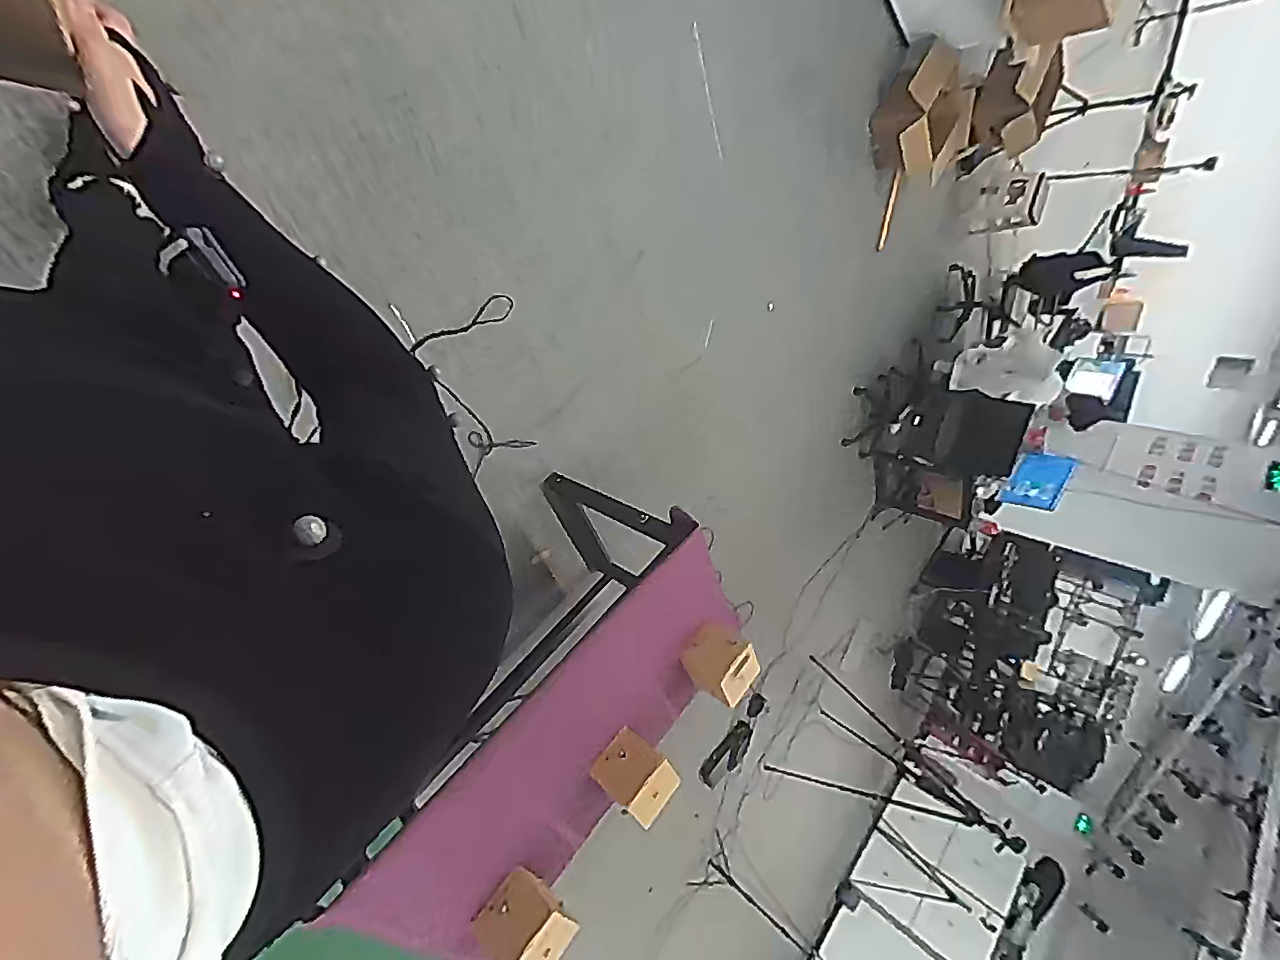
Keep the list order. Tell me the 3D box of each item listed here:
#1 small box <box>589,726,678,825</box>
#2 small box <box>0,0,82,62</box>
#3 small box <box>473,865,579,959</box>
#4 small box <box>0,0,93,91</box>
[{"bbox_3d":[-0.019,0.866,1.597,0.168,0.176,0.179,-45,133,-25],"label":"small box"},{"bbox_3d":[-0.432,-0.364,0.287,0.168,0.176,0.179,-11,118,-40],"label":"small box"},{"bbox_3d":[-0.297,1.154,1.410,0.168,0.176,0.179,-47,134,-27],"label":"small box"},{"bbox_3d":[-0.538,-0.422,0.398,0.168,0.176,0.179,-12,118,-40],"label":"small box"}]
